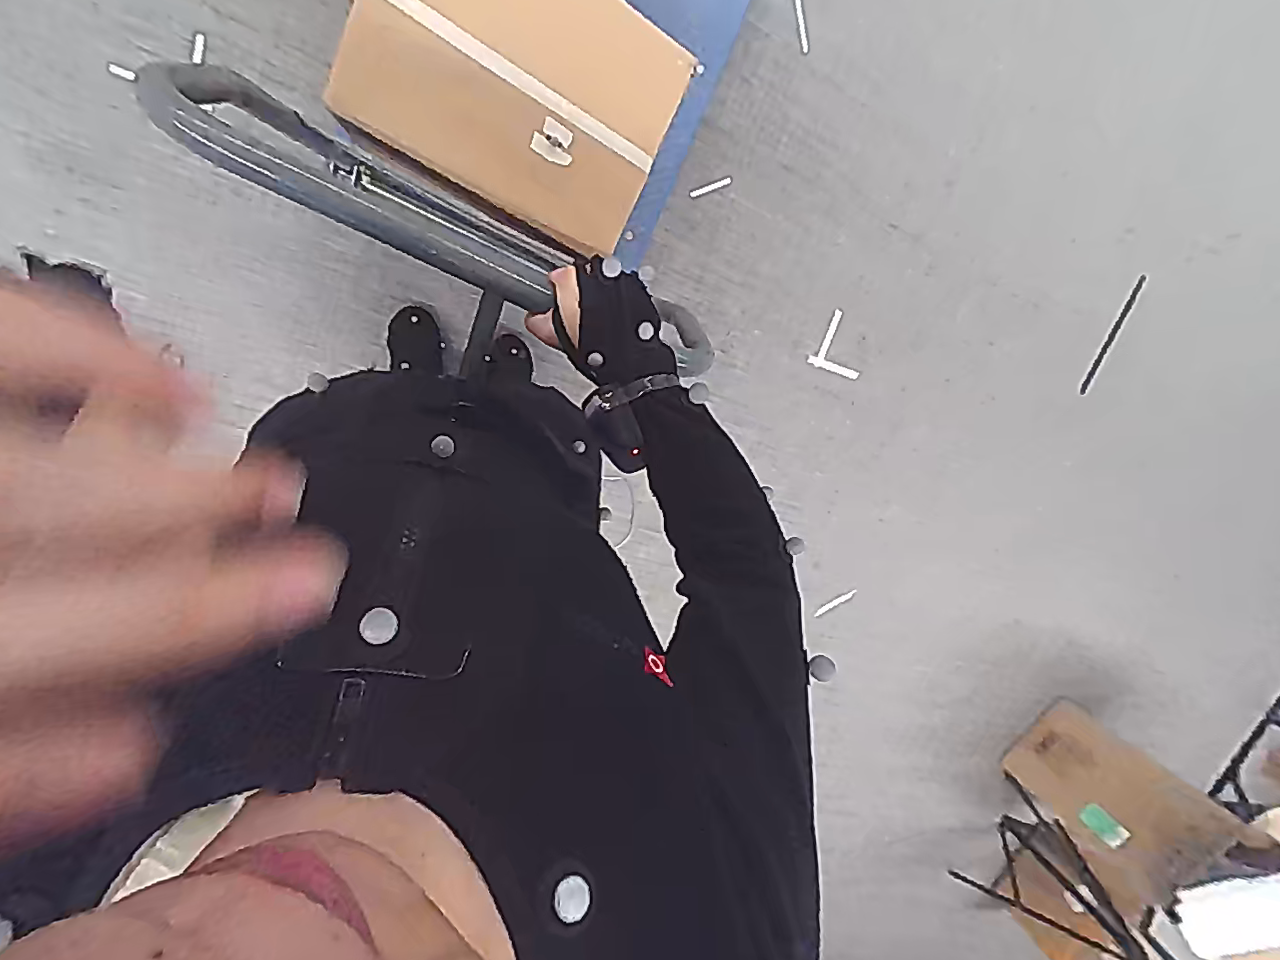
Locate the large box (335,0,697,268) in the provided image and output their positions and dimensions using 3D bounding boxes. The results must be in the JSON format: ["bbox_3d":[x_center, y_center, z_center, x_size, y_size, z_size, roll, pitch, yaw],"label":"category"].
[{"bbox_3d":[-0.193,-0.579,0.856,0.408,0.320,0.320,22,102,-23],"label":"large box"}]
